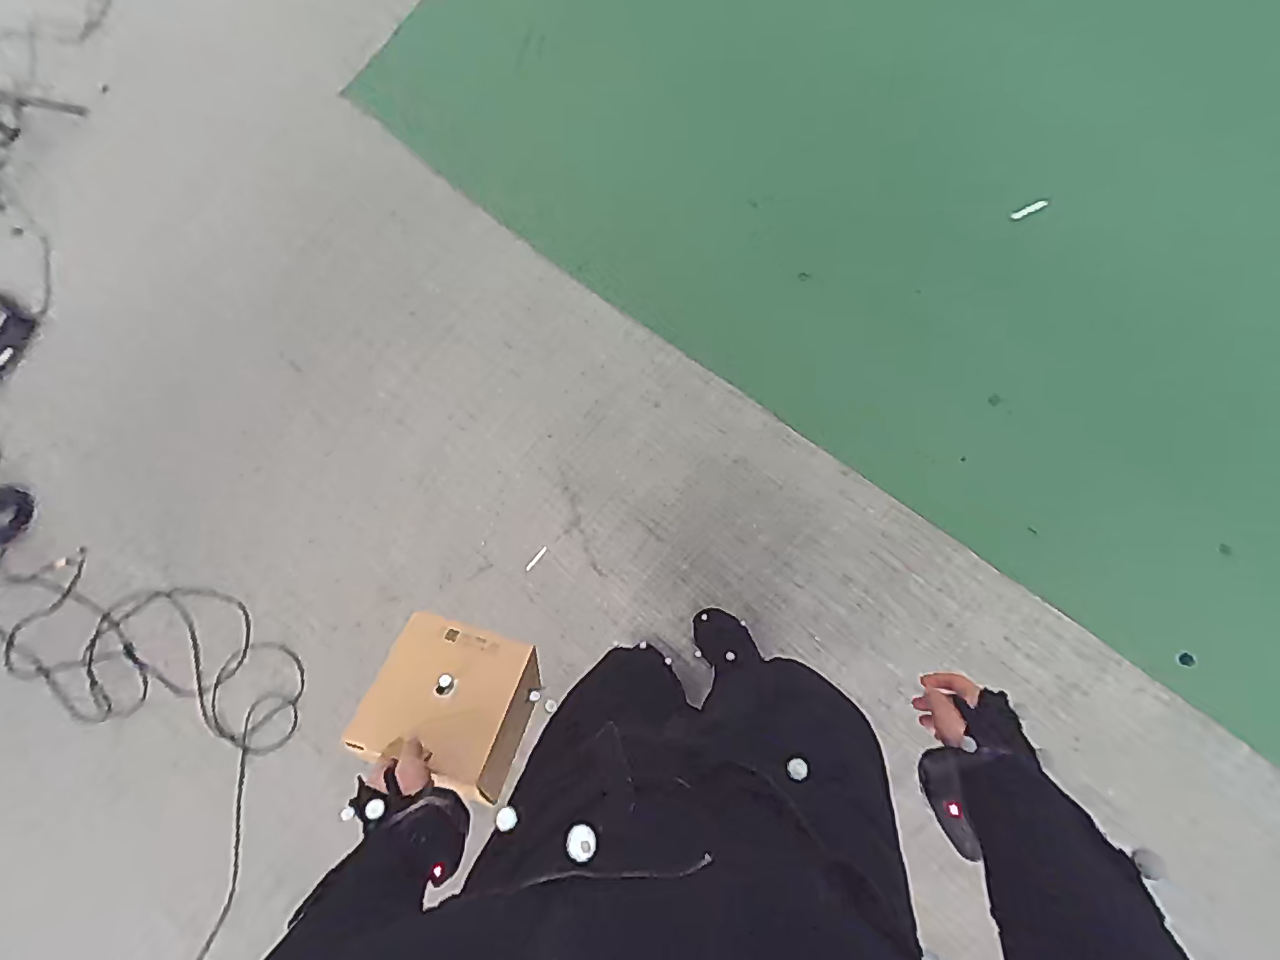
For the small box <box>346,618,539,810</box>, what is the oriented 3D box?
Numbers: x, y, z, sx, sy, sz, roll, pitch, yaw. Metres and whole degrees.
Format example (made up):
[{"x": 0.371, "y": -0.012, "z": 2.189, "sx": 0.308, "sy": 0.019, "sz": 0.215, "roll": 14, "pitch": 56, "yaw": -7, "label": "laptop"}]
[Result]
[{"x": -0.241, "y": 0.305, "z": 0.712, "sx": 0.168, "sy": 0.179, "sz": 0.176, "roll": 15, "pitch": 51, "yaw": 5, "label": "small box"}]
